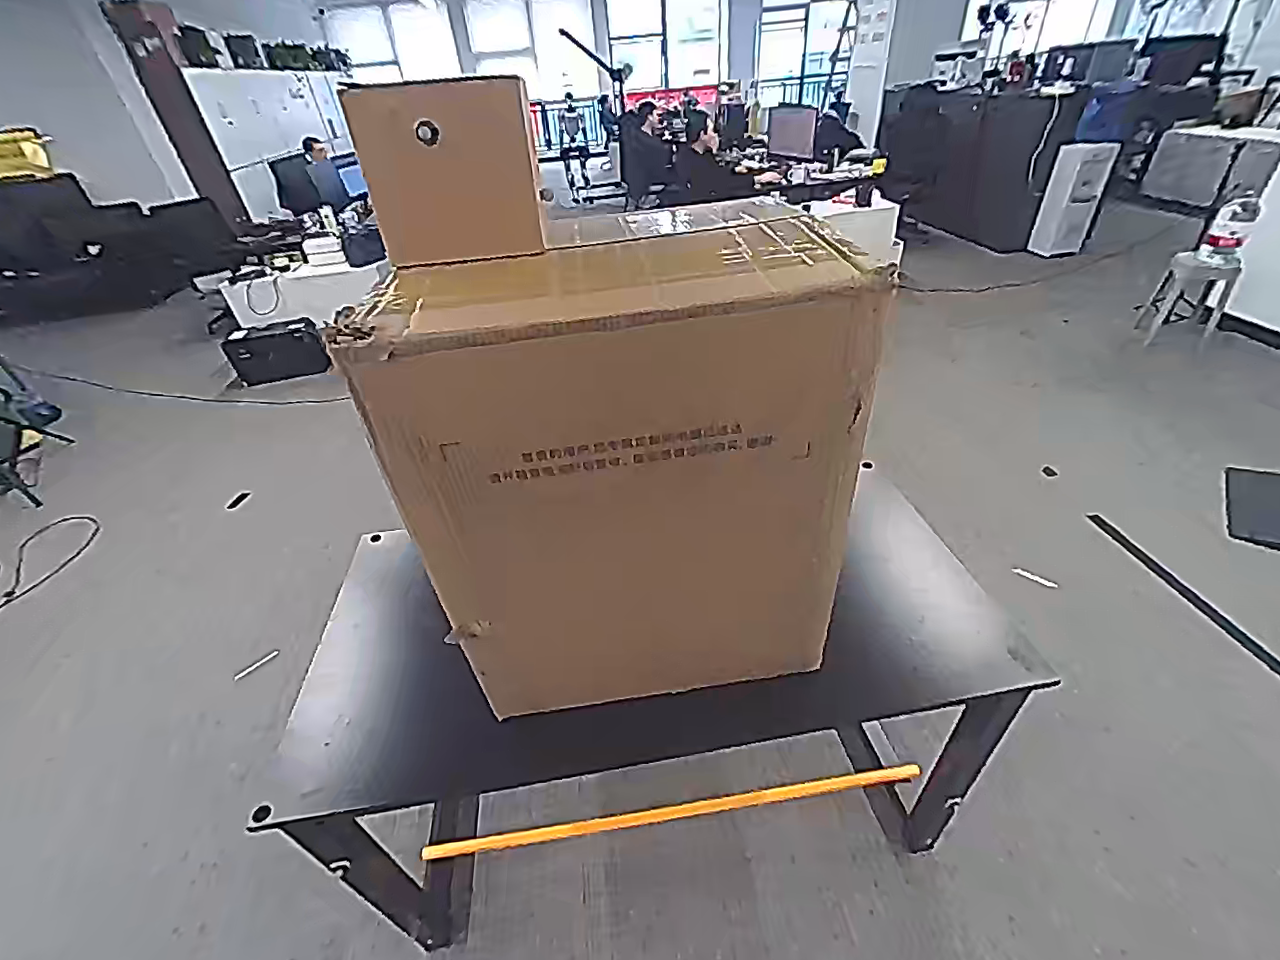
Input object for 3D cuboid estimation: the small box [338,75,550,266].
[{"bbox_3d":[-0.209,-0.358,0.634,0.179,0.176,0.168,-7,35,-4],"label":"small box"}]
